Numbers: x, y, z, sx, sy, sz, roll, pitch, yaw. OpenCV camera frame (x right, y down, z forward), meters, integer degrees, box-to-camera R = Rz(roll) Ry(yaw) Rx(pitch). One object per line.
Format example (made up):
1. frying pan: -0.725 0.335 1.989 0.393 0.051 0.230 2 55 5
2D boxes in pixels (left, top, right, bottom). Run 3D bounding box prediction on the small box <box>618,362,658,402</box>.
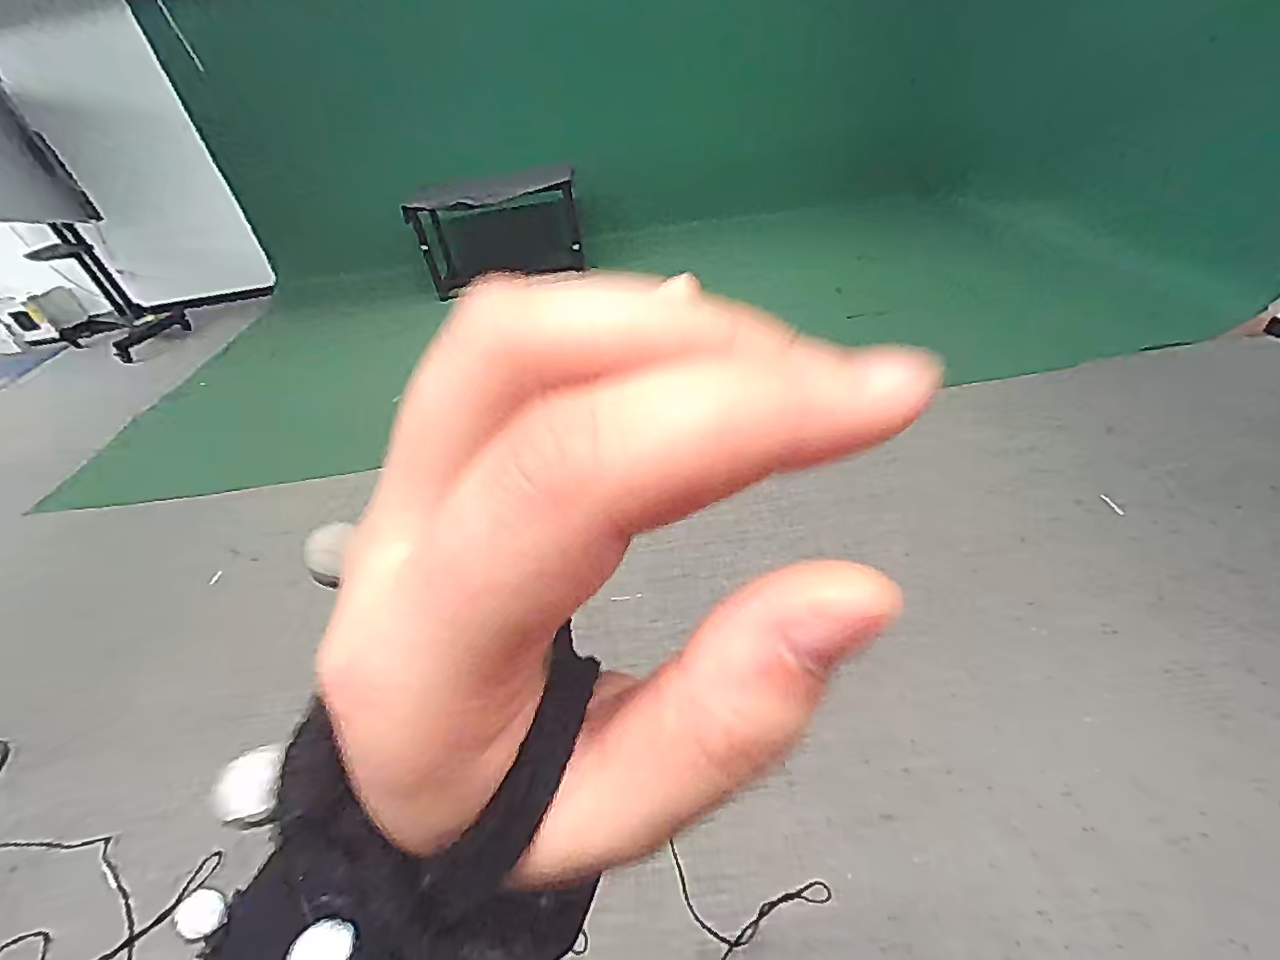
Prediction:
1. small box: -0.009 -0.466 2.447 0.168 0.176 0.179 -6 40 1
